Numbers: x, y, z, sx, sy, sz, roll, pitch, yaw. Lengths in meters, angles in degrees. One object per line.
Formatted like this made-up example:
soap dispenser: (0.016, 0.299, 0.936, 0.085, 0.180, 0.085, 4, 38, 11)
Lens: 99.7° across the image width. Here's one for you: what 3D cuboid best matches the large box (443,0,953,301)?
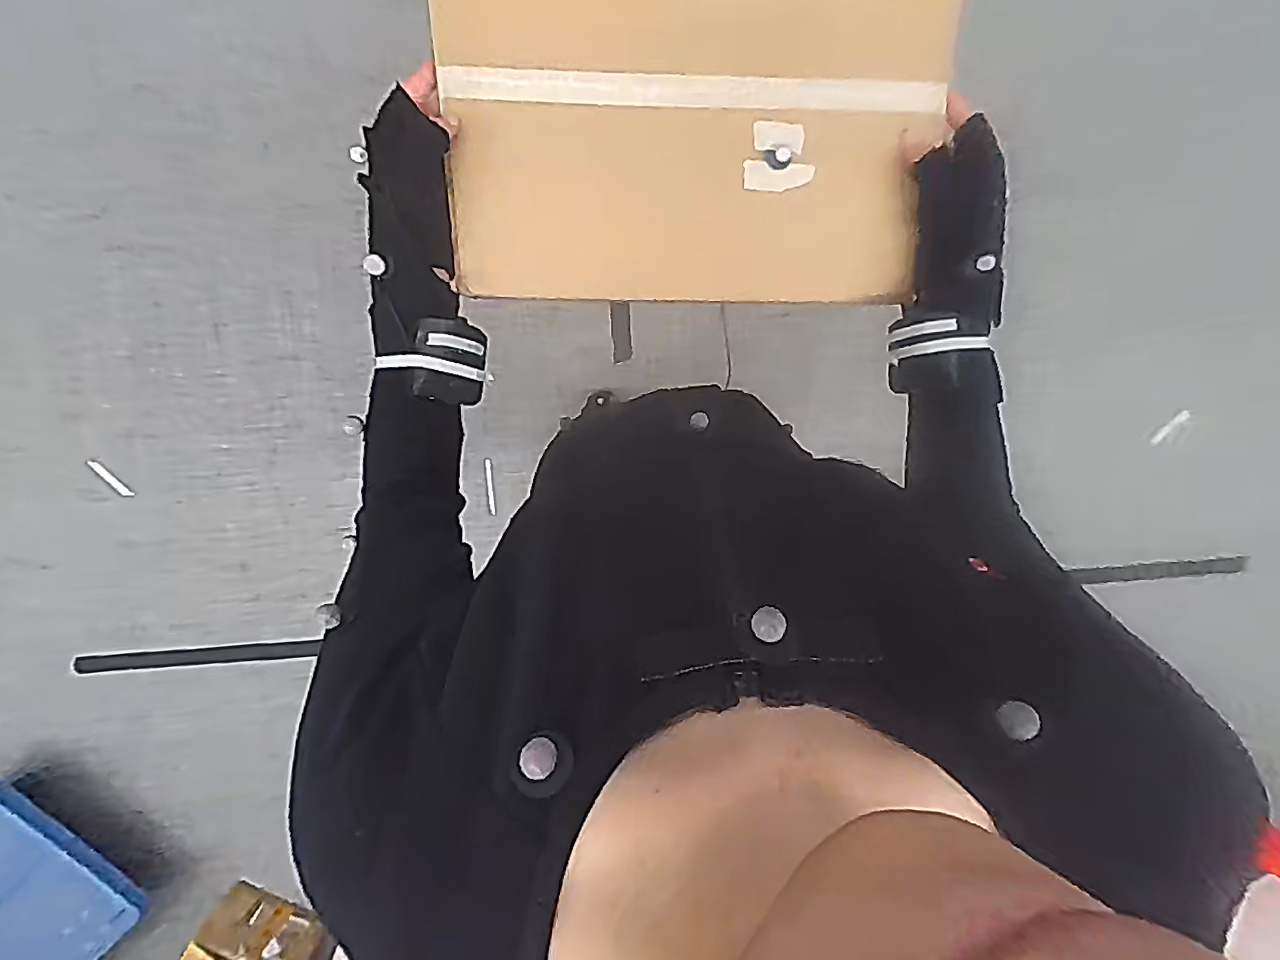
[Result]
large box: (0.037, -0.357, 0.576, 0.408, 0.320, 0.320, -1, 109, -4)
